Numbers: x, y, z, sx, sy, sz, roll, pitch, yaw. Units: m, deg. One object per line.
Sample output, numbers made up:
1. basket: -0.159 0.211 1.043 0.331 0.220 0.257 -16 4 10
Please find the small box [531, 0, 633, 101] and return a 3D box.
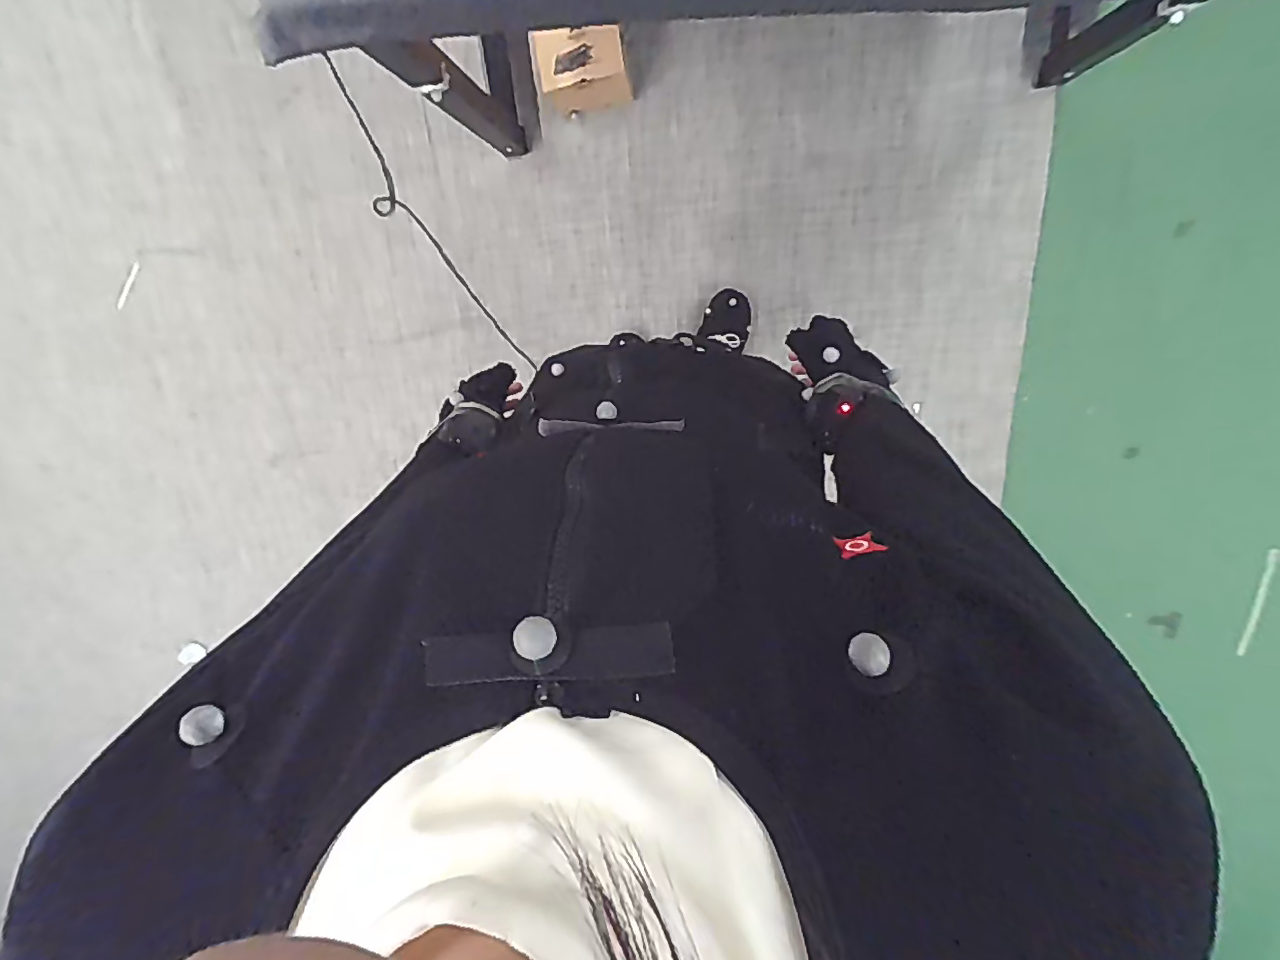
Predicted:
1. small box: -0.111 -0.888 1.082 0.168 0.176 0.179 -6 108 7
